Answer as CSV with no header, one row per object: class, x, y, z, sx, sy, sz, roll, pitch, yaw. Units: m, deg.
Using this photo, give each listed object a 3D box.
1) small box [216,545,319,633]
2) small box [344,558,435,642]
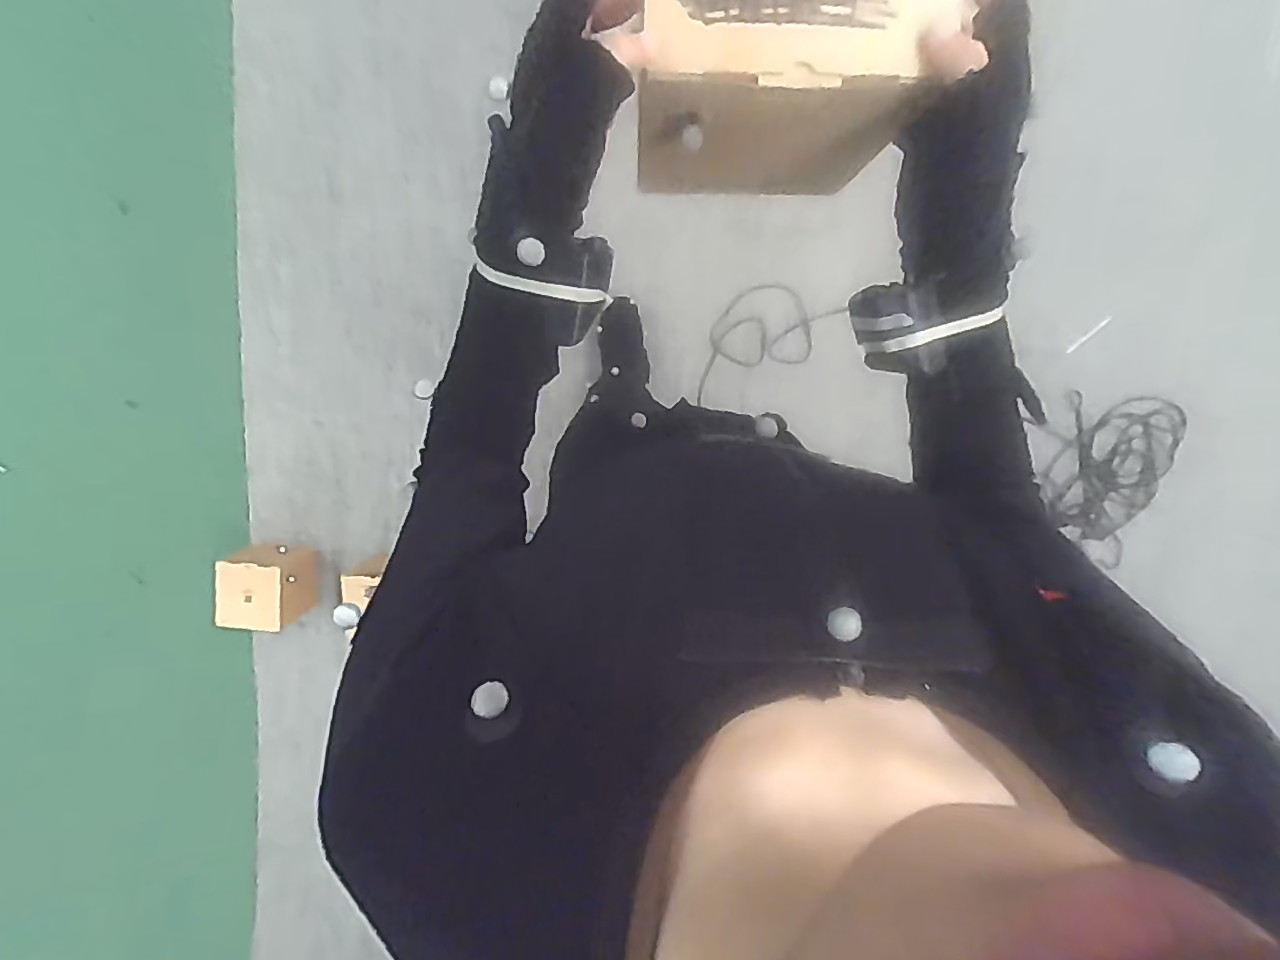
small box,-0.983,0.285,1.439,0.168,0.176,0.179,6,98,-1
small box,-0.660,0.313,1.441,0.168,0.176,0.179,1,99,0
